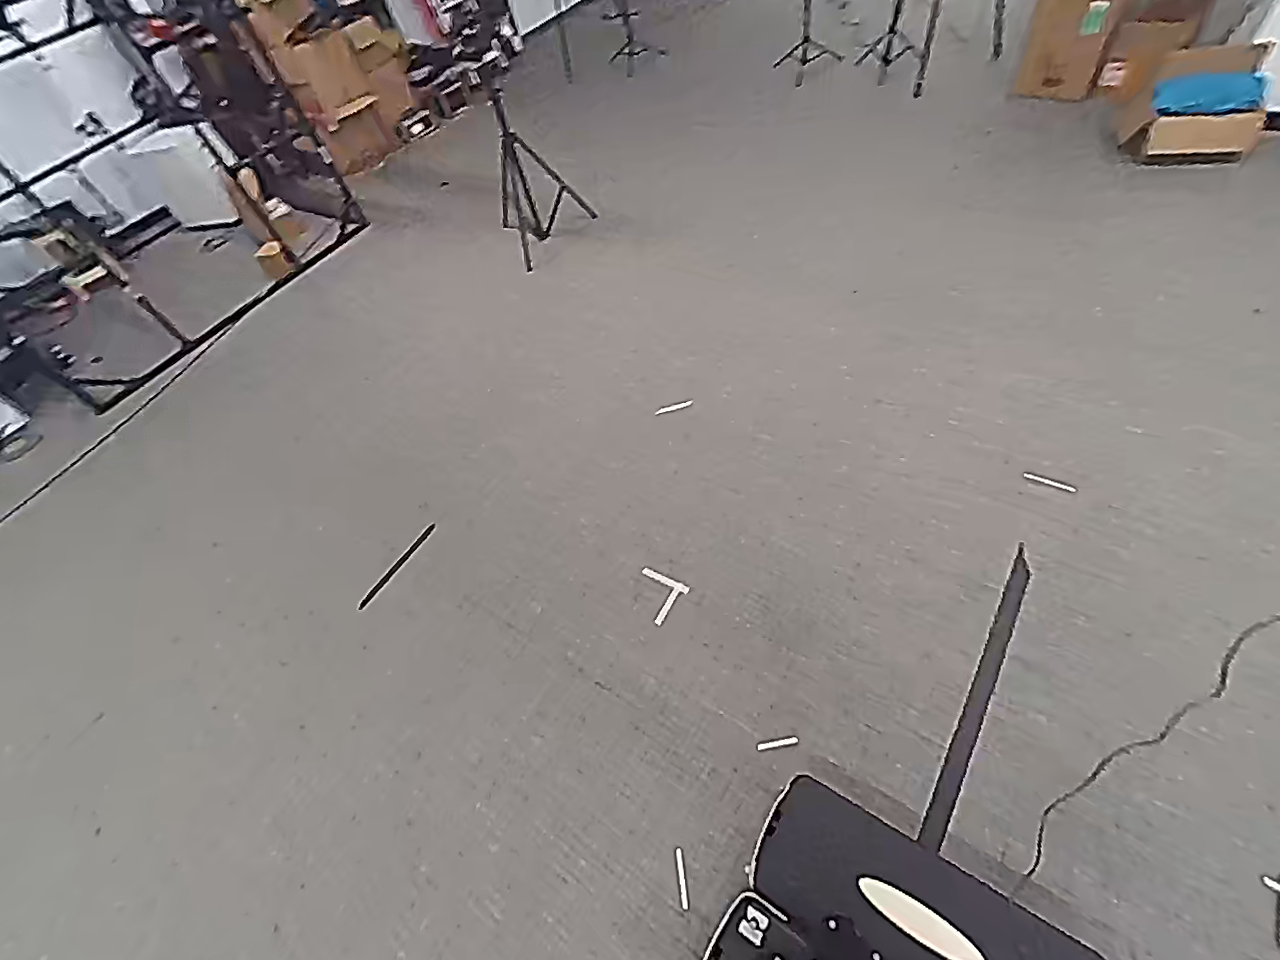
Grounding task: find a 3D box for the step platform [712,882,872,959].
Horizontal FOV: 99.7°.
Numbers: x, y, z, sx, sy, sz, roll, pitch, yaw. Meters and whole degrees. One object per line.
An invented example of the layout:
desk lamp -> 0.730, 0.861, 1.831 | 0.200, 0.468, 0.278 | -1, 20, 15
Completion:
step platform -> 0.455, 1.103, 1.008 | 0.684, 0.204, 0.286 | 21, 61, 27
